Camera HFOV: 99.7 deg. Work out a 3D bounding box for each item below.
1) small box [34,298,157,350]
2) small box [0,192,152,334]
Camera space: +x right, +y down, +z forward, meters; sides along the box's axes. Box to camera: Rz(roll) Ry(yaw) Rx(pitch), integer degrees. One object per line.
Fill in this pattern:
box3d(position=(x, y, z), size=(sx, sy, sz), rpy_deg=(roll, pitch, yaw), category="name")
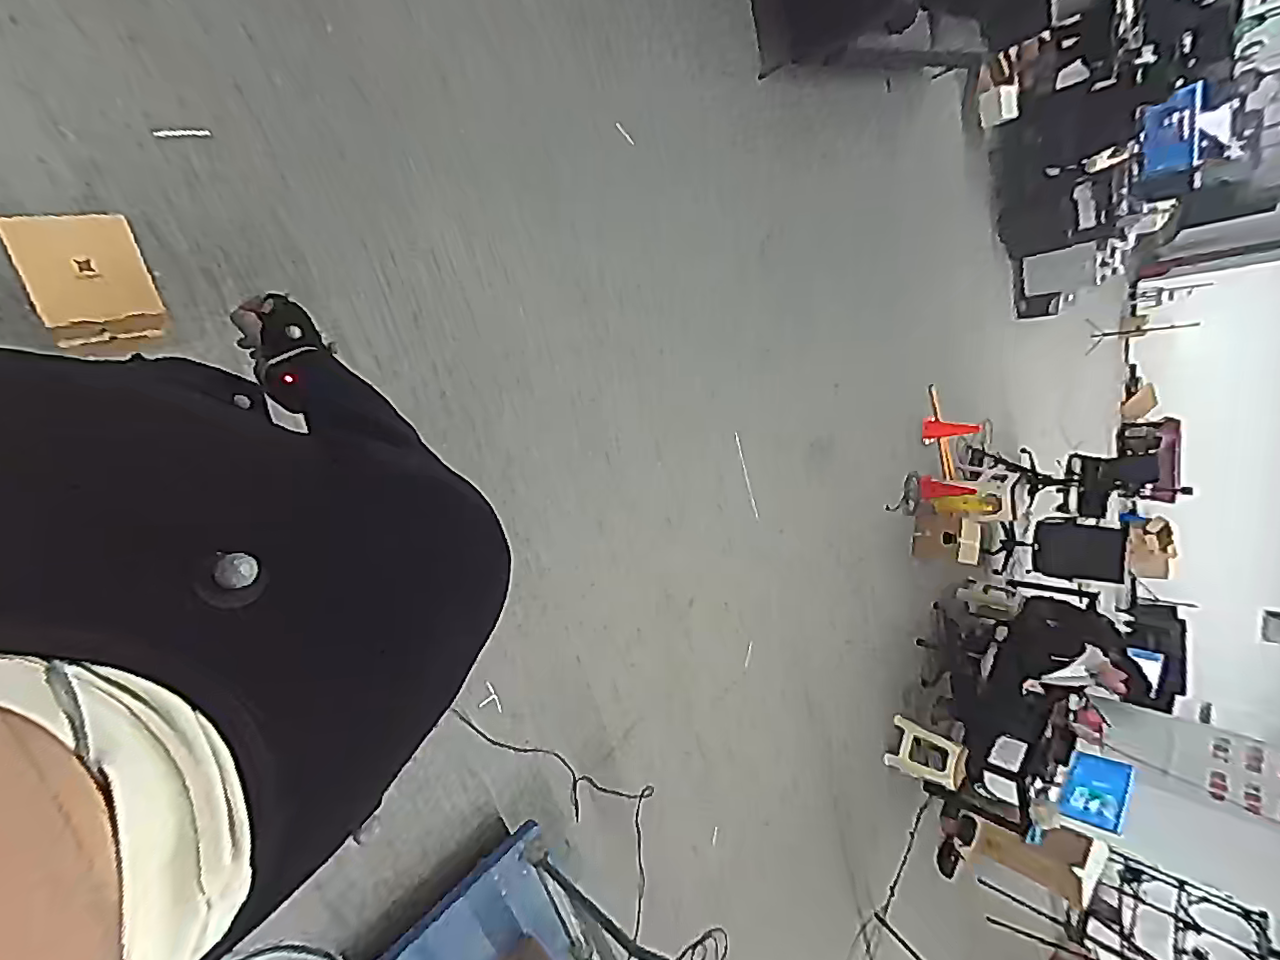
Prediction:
box3d(position=(-1.124, -0.370, 1.106), size=(0.168, 0.176, 0.179), rpy_deg=(-25, 108, -38), category="small box")
box3d(position=(-1.027, -0.378, 0.985), size=(0.179, 0.176, 0.168), rpy_deg=(16, 85, -41), category="small box")
